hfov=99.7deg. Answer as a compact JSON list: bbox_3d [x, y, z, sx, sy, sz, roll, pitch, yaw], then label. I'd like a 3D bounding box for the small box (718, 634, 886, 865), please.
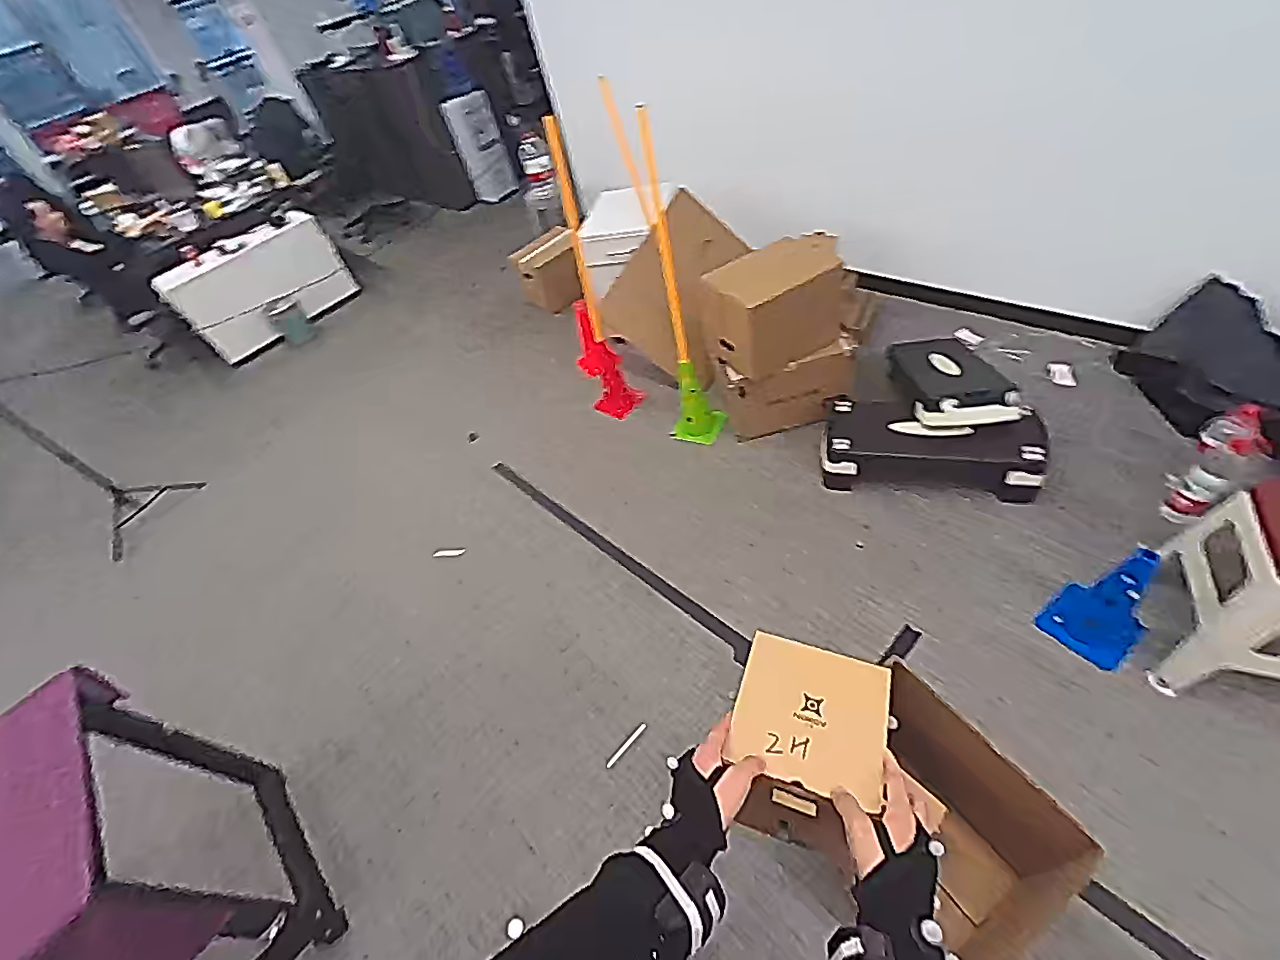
[{"bbox_3d":[0.196,0.331,0.672,0.168,0.176,0.179,11,43,19],"label":"small box"}]
